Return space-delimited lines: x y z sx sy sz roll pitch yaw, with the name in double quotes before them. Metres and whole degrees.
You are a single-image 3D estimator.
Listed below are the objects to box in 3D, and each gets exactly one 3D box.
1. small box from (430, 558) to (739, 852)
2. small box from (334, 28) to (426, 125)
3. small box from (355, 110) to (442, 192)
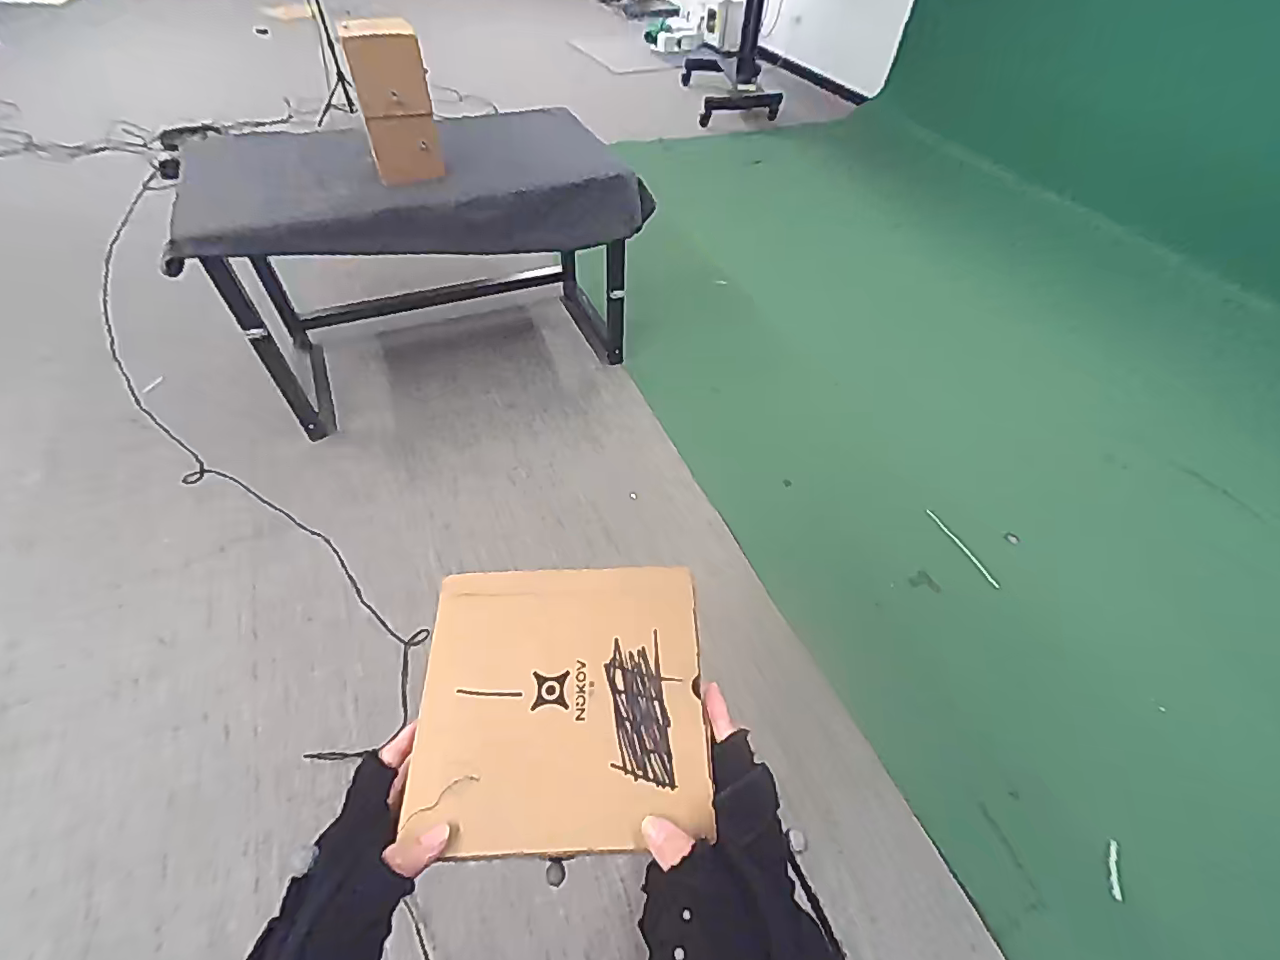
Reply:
"small box" -0.040 0.172 0.411 0.179 0.176 0.168 -4 56 -6
"small box" -0.664 -1.042 1.396 0.179 0.176 0.168 -17 52 -17
"small box" -0.672 -0.938 1.523 0.179 0.176 0.168 -20 52 -17
